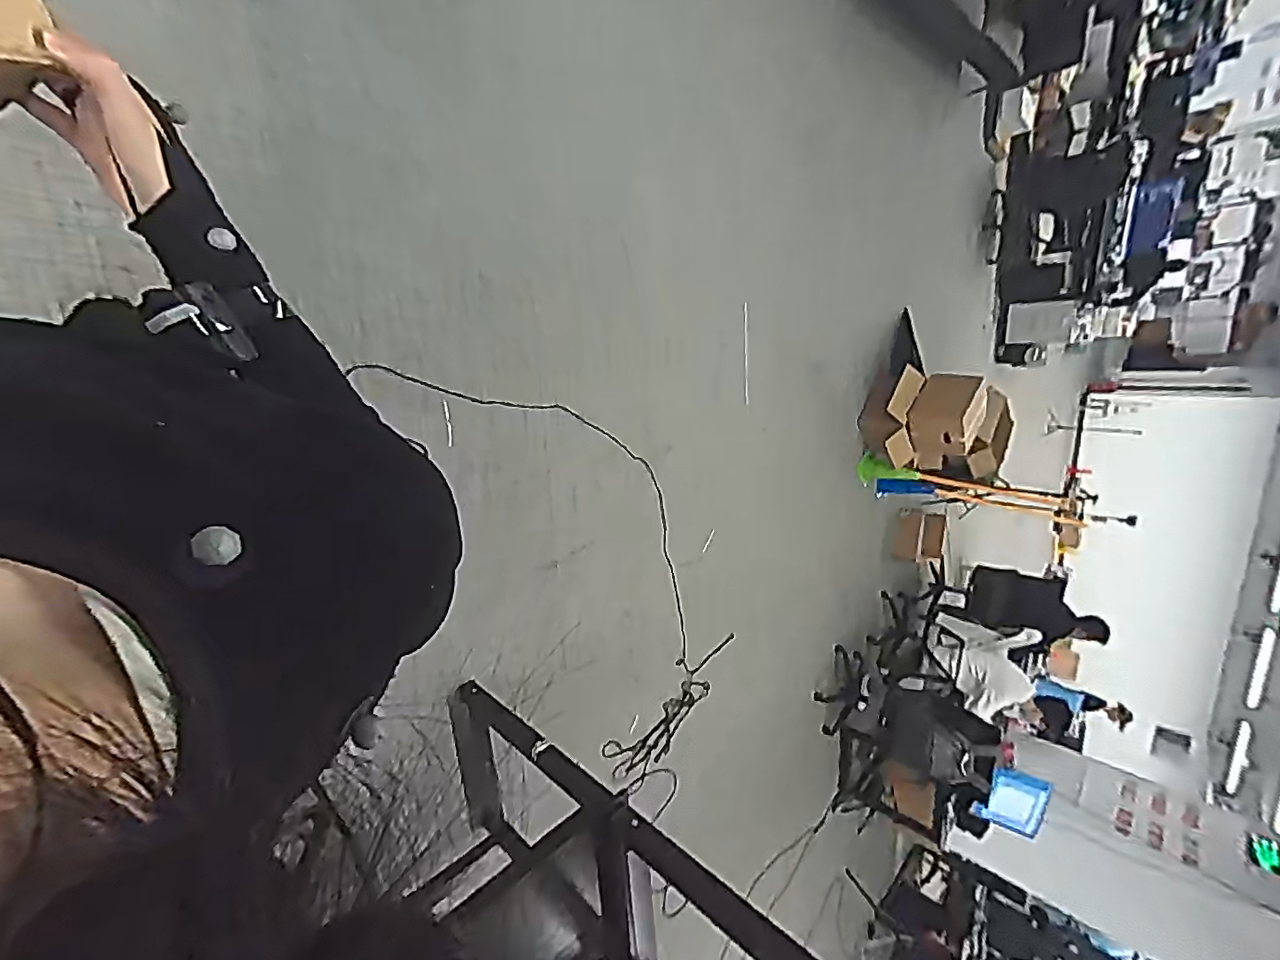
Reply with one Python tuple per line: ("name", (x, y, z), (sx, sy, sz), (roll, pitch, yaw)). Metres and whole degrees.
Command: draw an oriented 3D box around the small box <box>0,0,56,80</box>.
("small box", (-0.428, -0.287, 0.235), (0.168, 0.176, 0.179), (-39, 131, -51))
